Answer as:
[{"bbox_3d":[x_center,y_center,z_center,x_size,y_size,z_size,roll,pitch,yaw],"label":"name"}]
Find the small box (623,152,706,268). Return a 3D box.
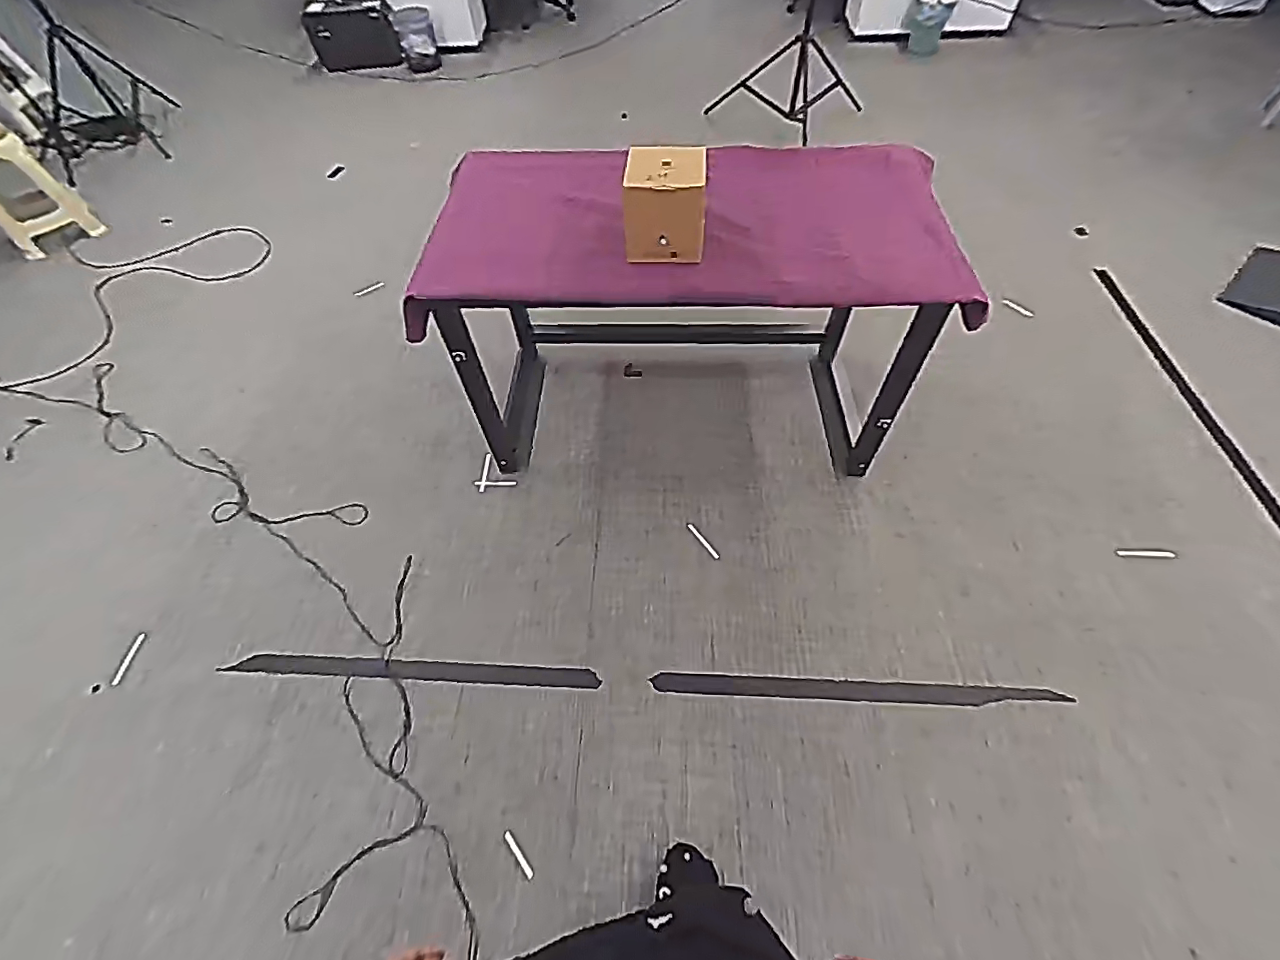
[{"bbox_3d":[0.056,-0.592,1.188,0.168,0.176,0.179,2,55,5],"label":"small box"}]
